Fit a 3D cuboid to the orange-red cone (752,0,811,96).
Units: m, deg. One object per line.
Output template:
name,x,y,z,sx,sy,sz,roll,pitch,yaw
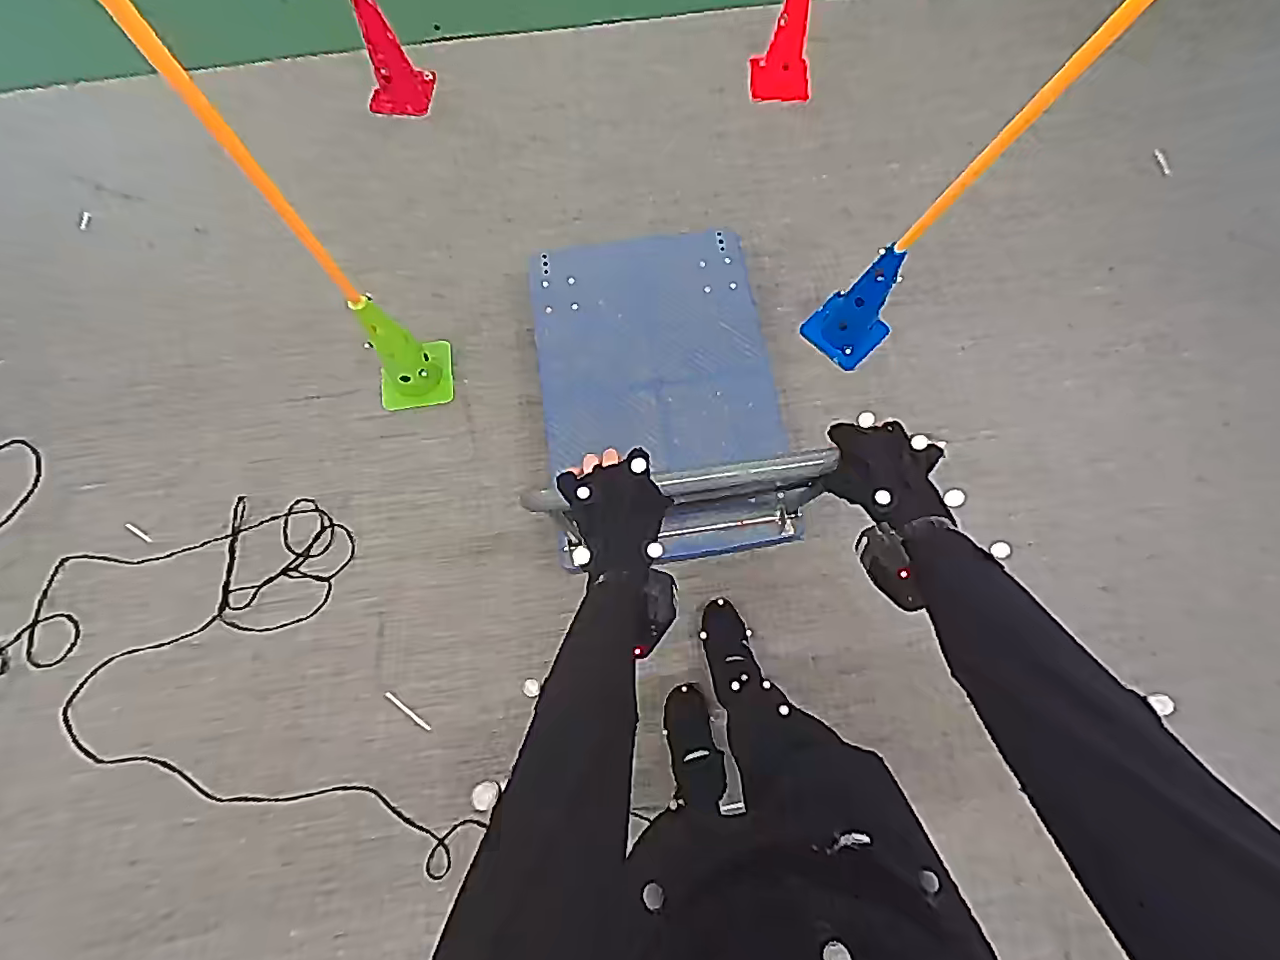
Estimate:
orange-red cone,0.476,-1.428,1.674,0.198,0.360,0.199,3,75,2
